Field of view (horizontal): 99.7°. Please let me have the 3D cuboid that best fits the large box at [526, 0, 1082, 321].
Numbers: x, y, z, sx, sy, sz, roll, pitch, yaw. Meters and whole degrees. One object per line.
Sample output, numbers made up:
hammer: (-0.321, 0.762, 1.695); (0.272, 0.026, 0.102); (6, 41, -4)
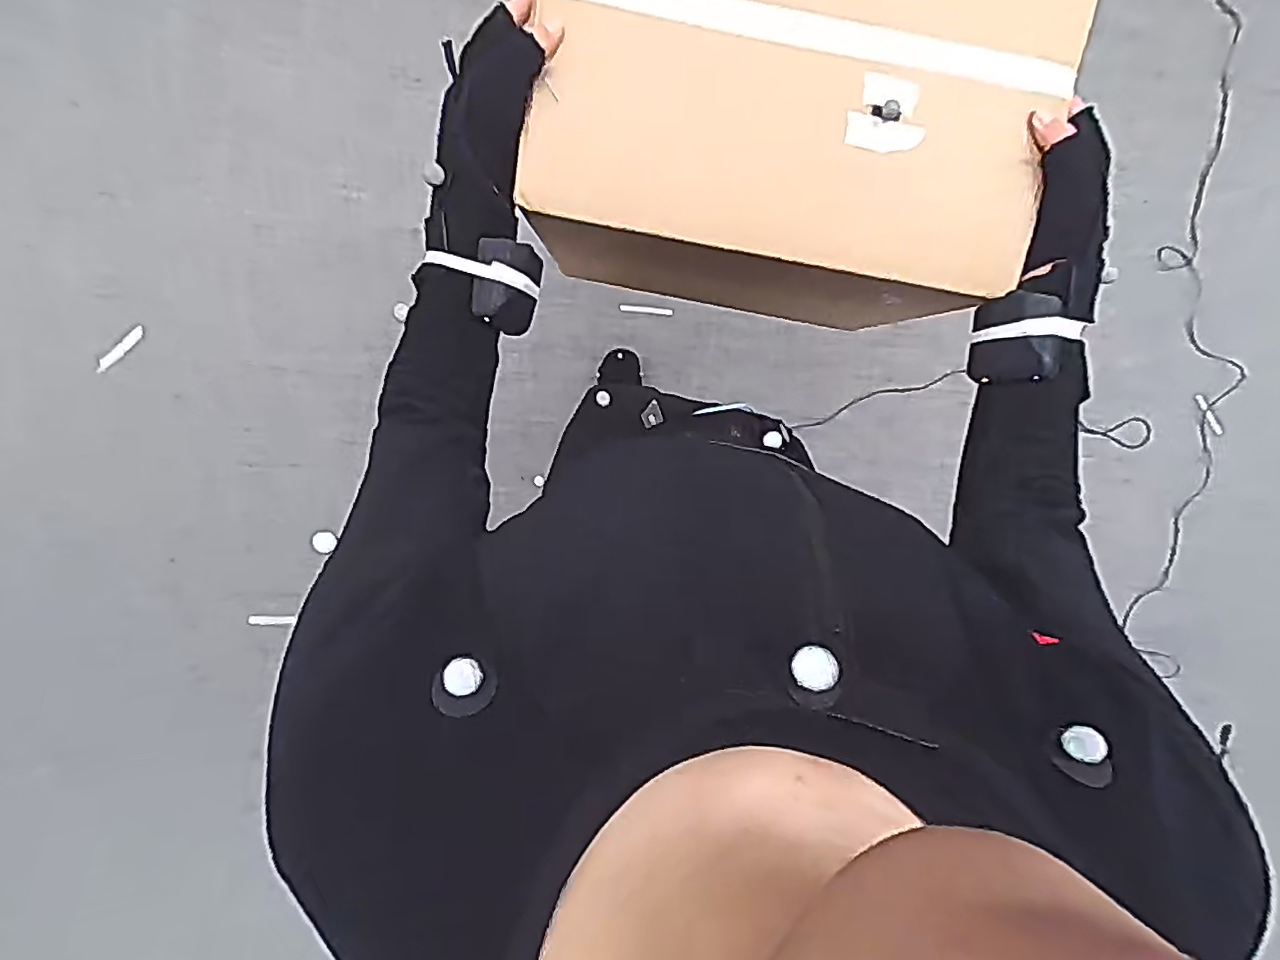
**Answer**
large box: (0.120, -0.362, 0.553); (0.408, 0.320, 0.320); (9, 102, -4)
